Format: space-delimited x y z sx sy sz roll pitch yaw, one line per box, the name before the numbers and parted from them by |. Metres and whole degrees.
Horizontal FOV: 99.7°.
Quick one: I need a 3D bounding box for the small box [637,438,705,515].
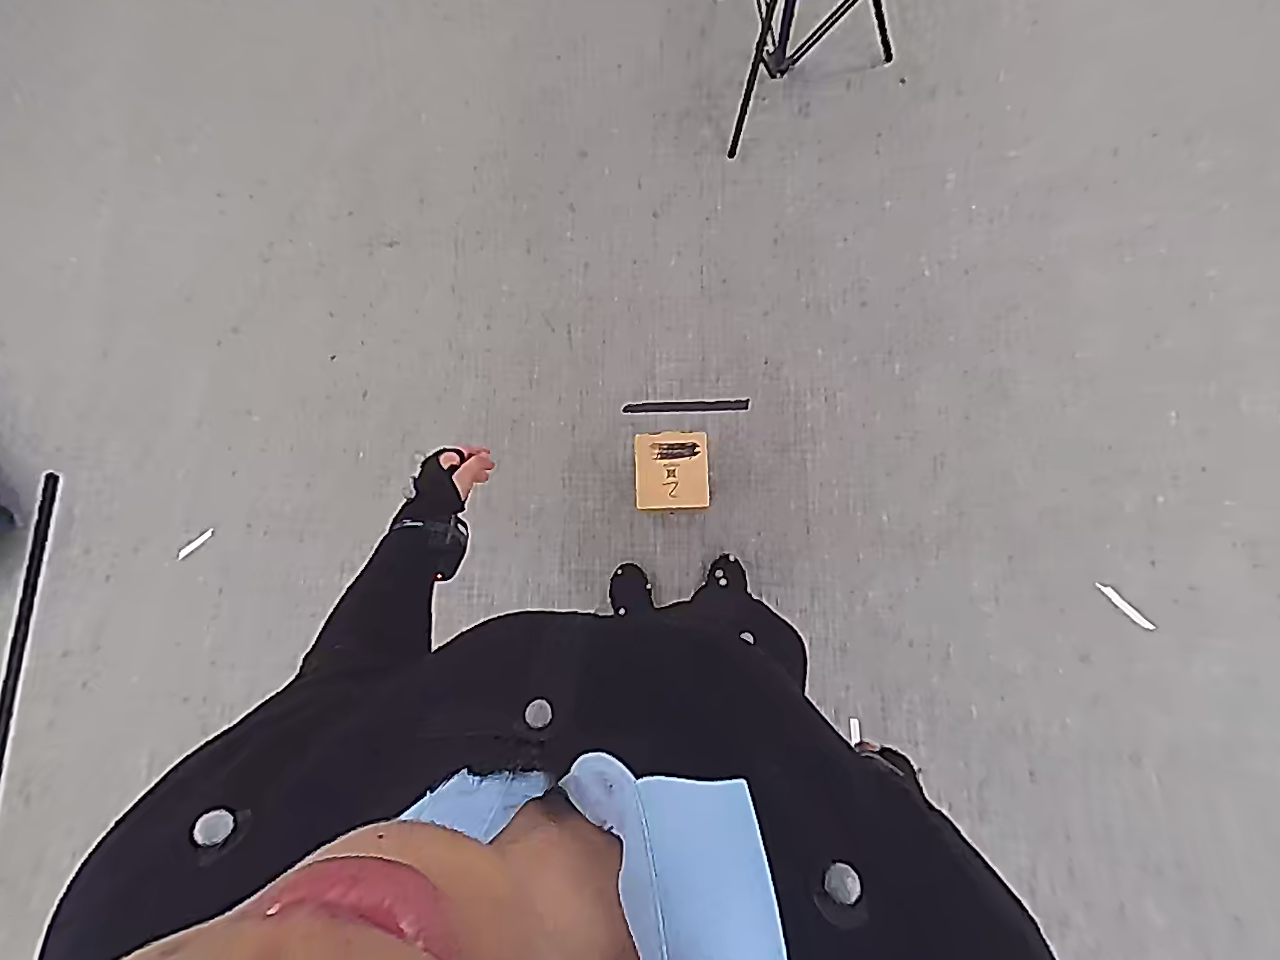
small box | 0.083 -0.004 1.456 0.168 0.176 0.179 -5 81 4
